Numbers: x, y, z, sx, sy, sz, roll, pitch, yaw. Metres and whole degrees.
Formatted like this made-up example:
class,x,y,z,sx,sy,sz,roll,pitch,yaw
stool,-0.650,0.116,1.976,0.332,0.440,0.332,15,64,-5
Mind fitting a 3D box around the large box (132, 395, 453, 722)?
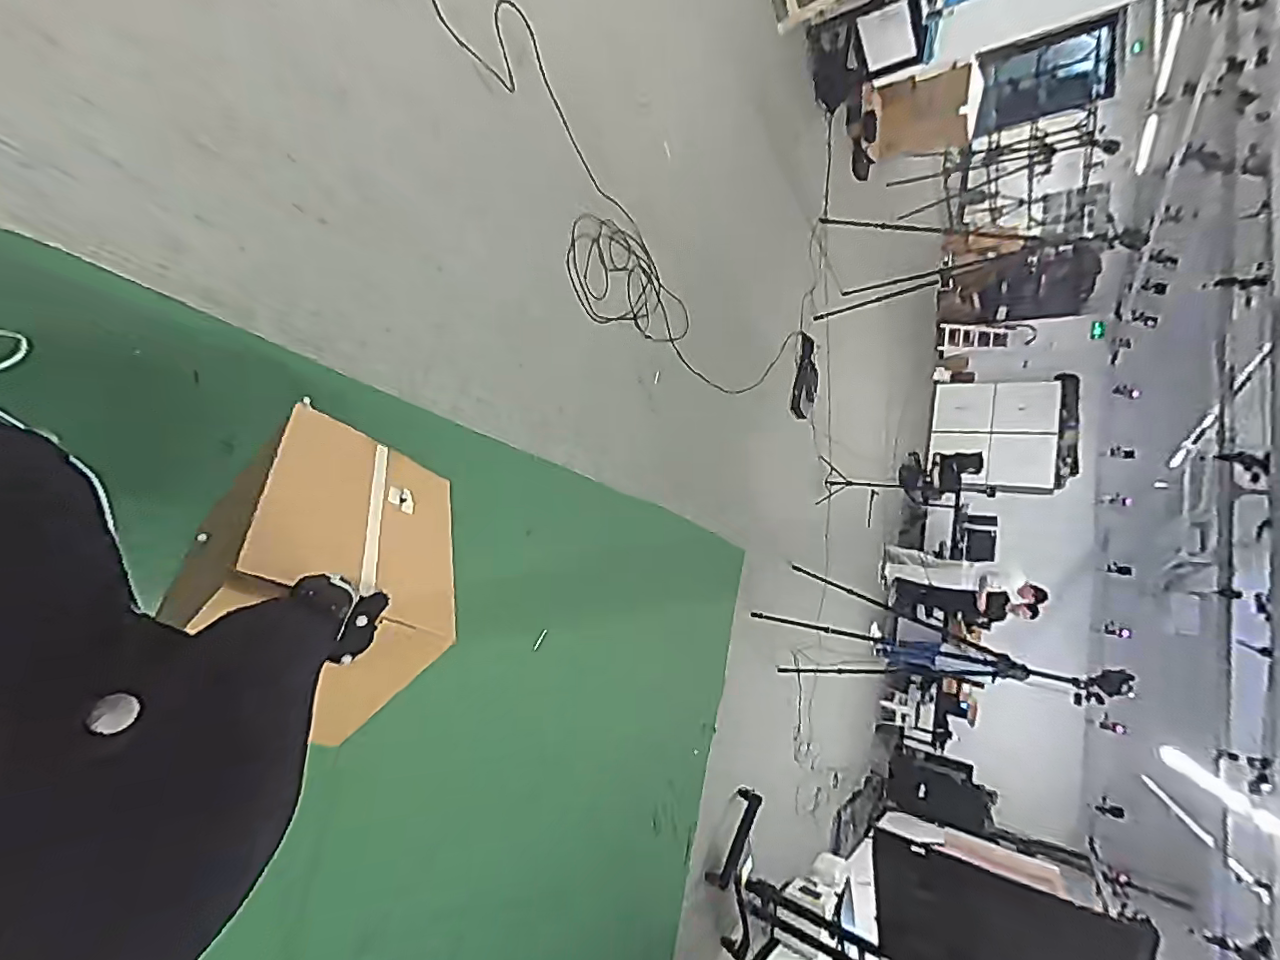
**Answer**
class,x,y,z,sx,sy,sz,roll,pitch,yaw
large box,-0.556,0.138,0.931,0.320,0.408,0.320,-41,131,14
